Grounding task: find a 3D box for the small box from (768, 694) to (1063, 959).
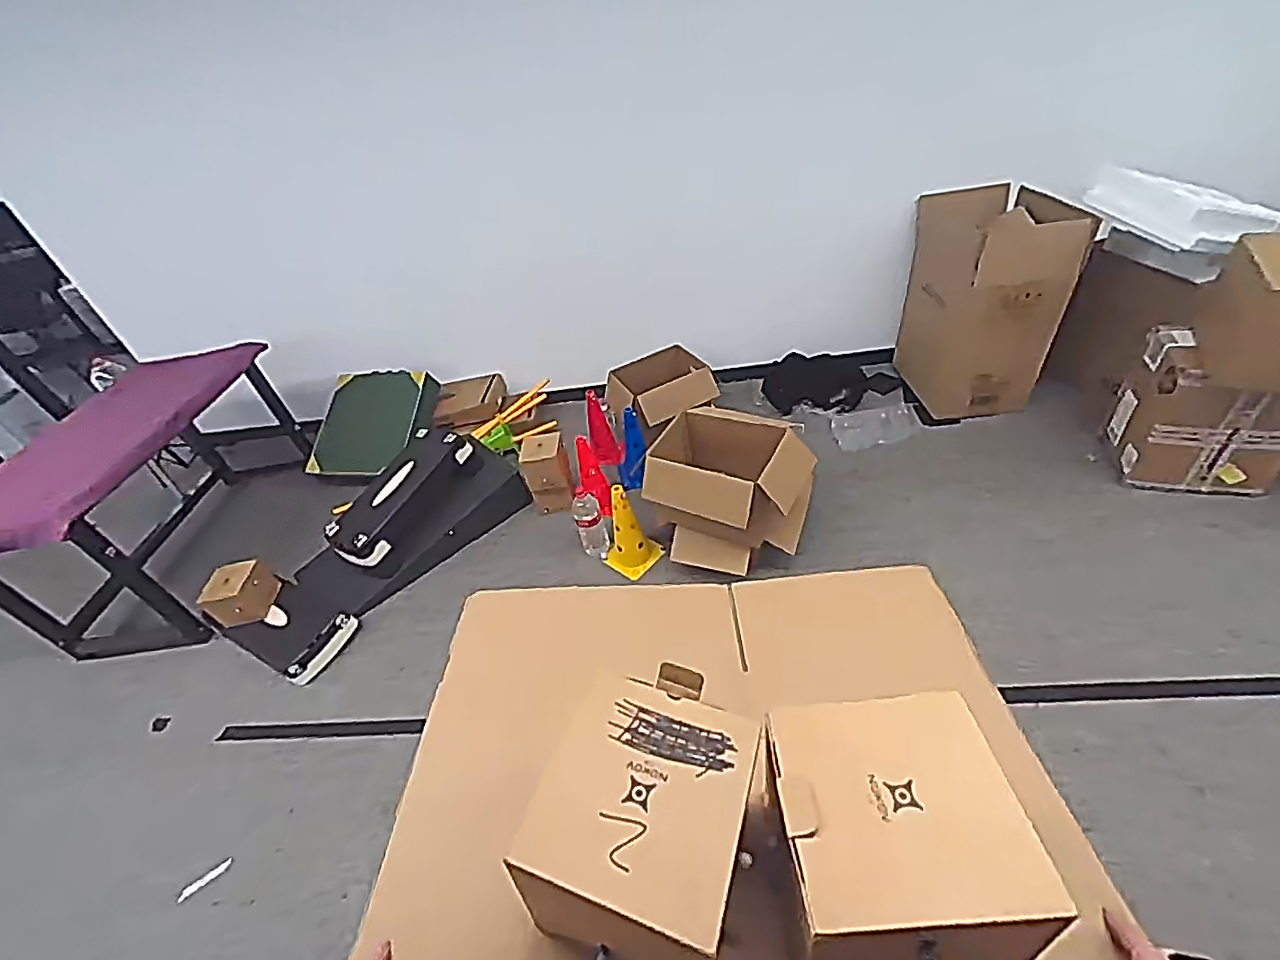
[{"bbox_3d":[0.216,0.319,0.486,0.179,0.176,0.168,-8,36,4],"label":"small box"}]
